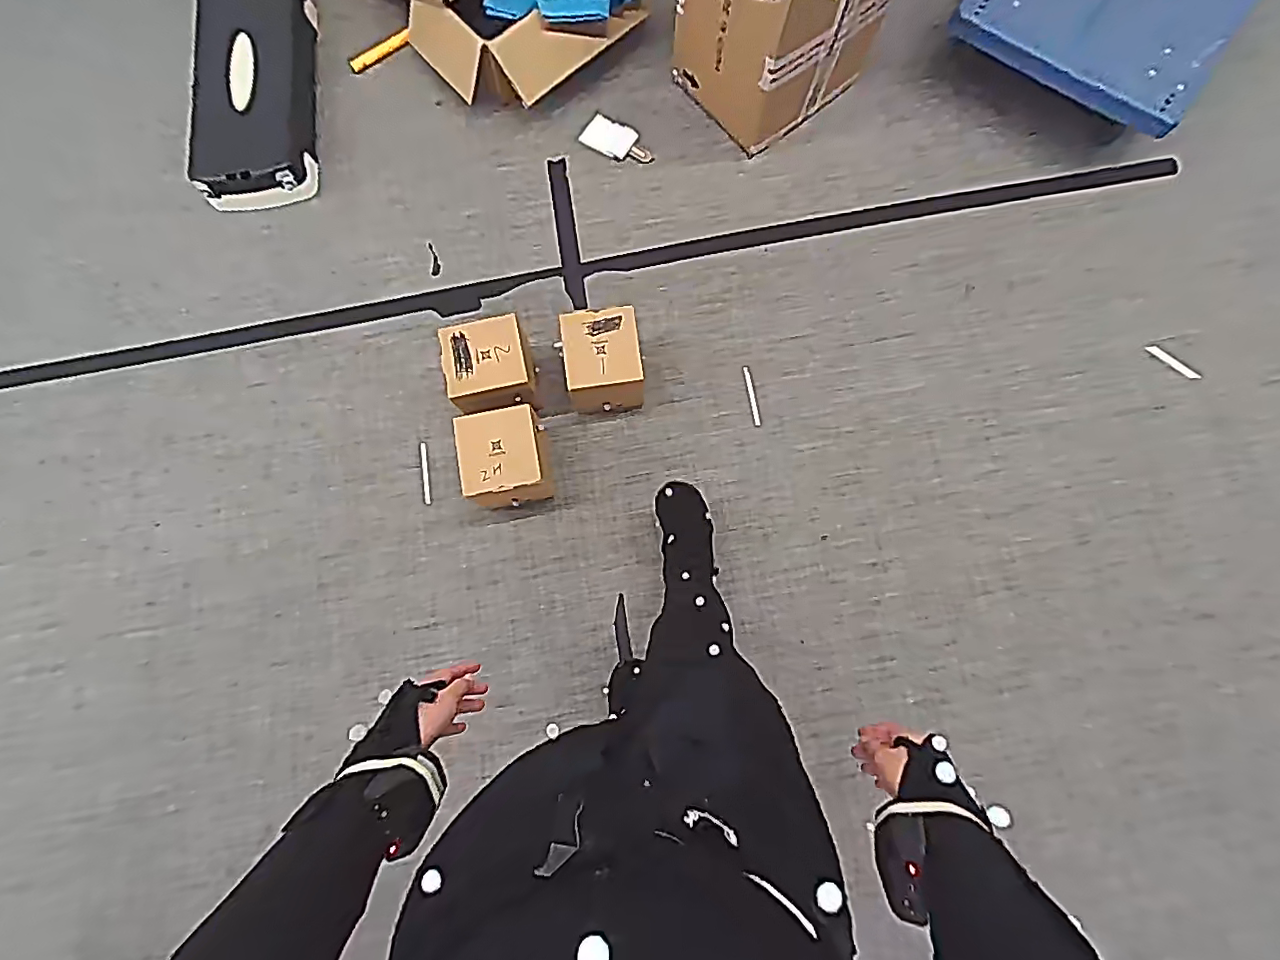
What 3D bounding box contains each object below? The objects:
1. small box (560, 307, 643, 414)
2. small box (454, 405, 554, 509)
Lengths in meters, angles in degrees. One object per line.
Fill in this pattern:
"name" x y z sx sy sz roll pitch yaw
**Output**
"small box" -0.085 -0.268 1.238 0.168 0.176 0.179 -8 79 -1
"small box" -0.295 -0.046 1.194 0.168 0.176 0.179 -11 78 -1
